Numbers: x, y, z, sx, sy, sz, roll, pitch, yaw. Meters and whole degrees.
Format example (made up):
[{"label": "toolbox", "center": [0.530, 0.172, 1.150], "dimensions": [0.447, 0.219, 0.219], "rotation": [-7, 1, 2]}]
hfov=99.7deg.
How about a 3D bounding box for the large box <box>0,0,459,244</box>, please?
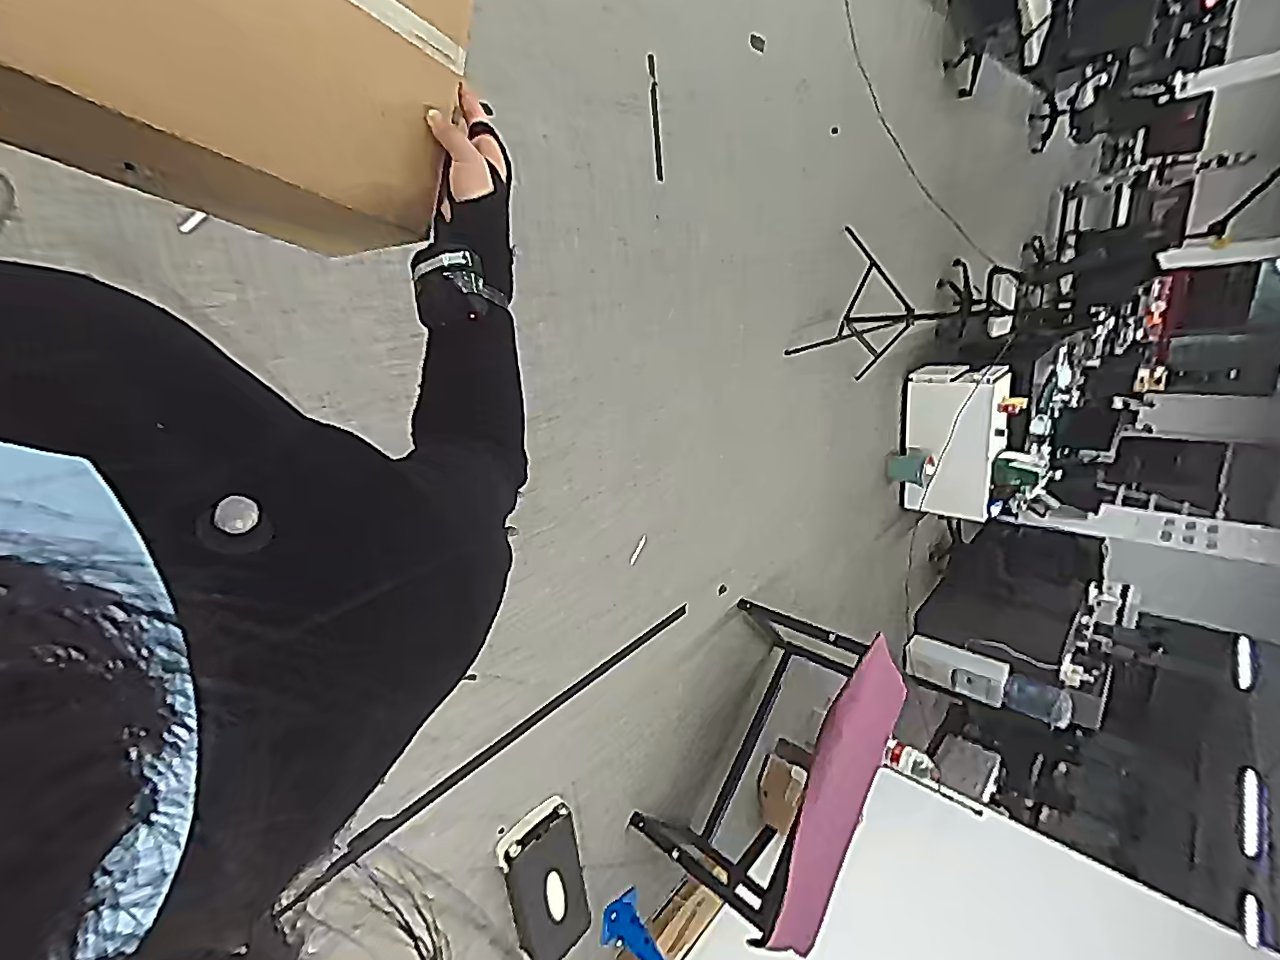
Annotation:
[{"label": "large box", "center": [-0.417, -0.433, 0.462], "dimensions": [0.408, 0.320, 0.320], "rotation": [7, 97, -46]}]
